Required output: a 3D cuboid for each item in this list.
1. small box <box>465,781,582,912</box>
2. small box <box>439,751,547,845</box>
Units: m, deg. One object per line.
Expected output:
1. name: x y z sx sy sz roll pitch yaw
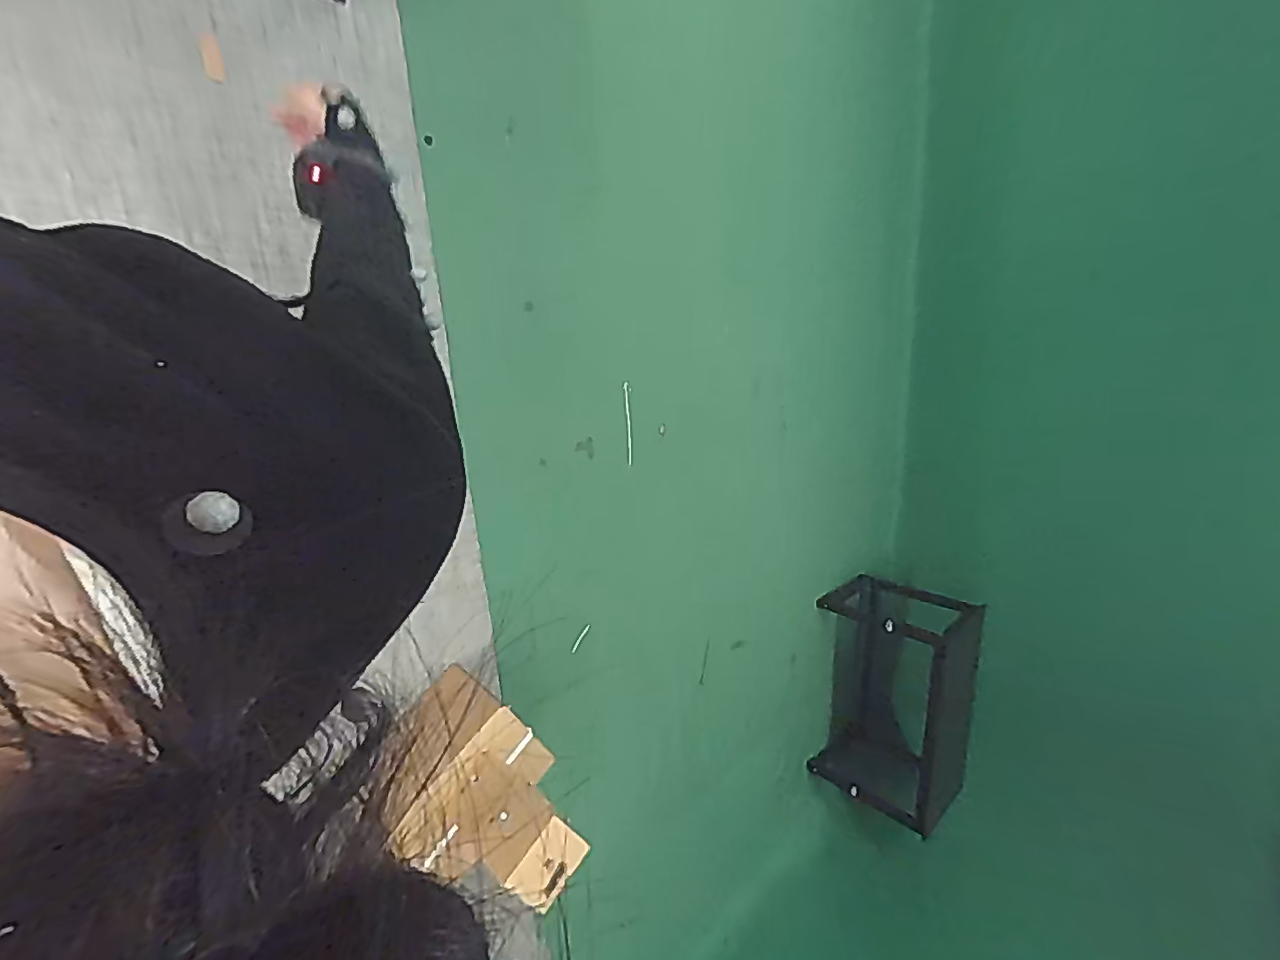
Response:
1. small box: -0.276 0.857 1.280 0.168 0.176 0.179 -46 125 -27
2. small box: -0.382 0.842 1.405 0.168 0.176 0.179 -50 128 -24
